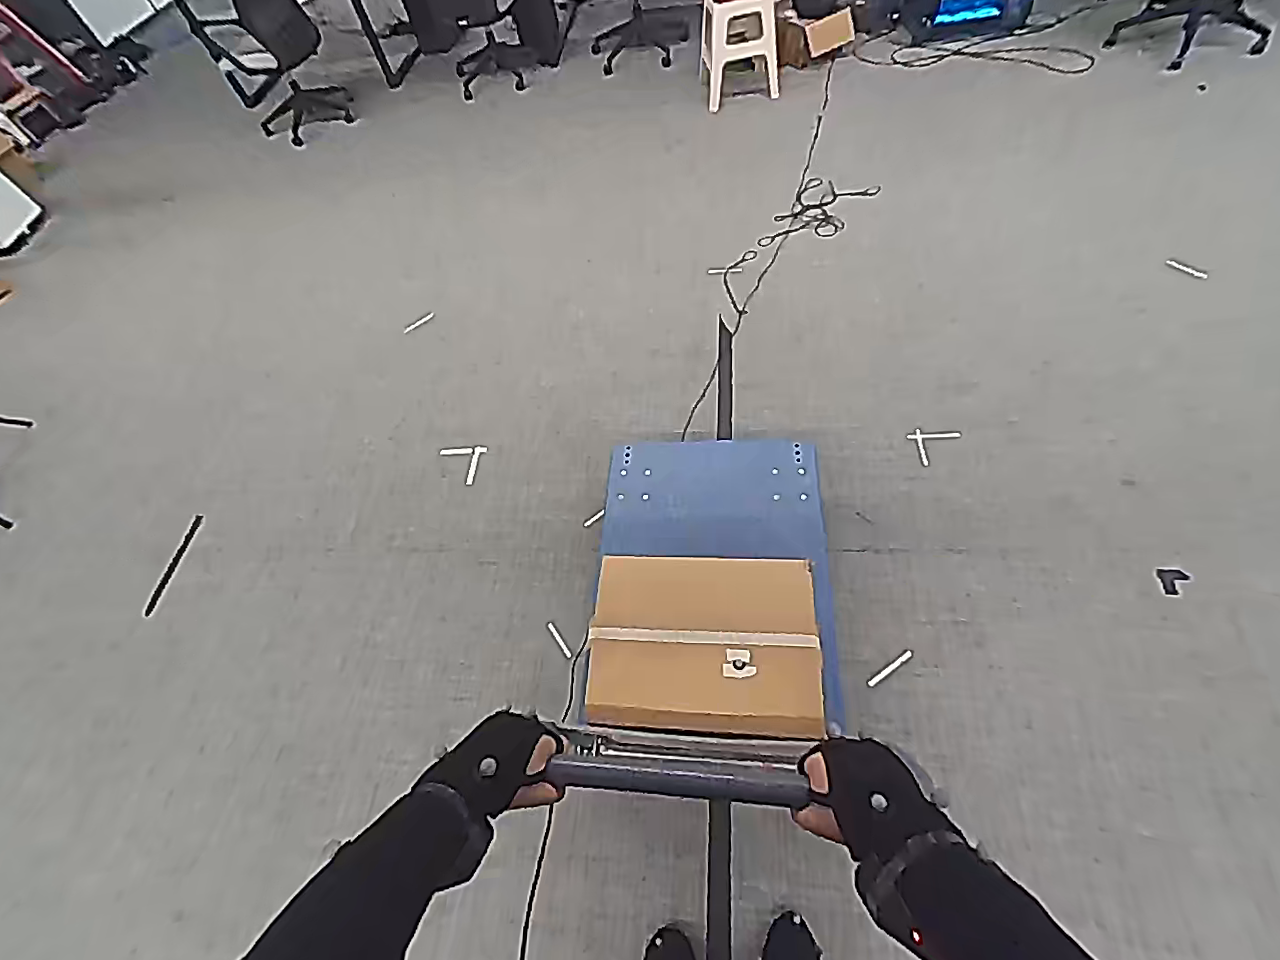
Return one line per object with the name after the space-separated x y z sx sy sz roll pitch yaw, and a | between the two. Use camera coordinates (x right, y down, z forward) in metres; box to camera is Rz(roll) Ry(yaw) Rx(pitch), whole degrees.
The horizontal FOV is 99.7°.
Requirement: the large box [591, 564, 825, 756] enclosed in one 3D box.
0.134 0.376 1.115 0.408 0.320 0.320 -1 59 8 | large box
